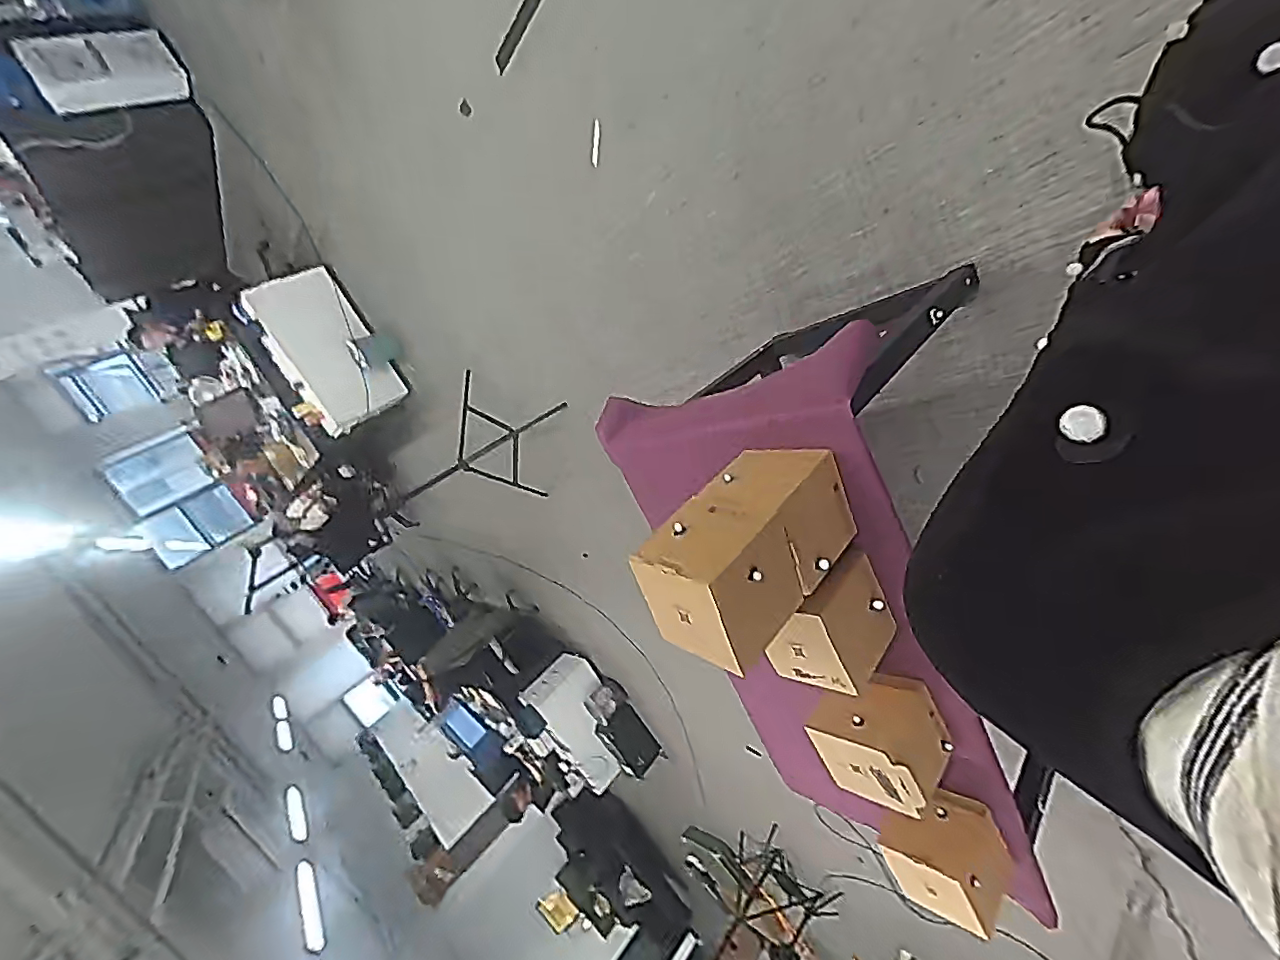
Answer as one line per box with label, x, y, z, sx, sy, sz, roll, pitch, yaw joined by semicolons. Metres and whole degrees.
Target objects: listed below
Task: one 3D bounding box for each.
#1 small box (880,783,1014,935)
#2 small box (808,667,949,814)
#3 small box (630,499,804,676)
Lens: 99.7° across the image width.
small box;0.635;0.757;1.111;0.168;0.176;0.179;-11;114;54
small box;0.466;0.487;1.041;0.179;0.176;0.168;-11;114;55
small box;0.120;0.148;0.813;0.168;0.176;0.179;10;132;49
